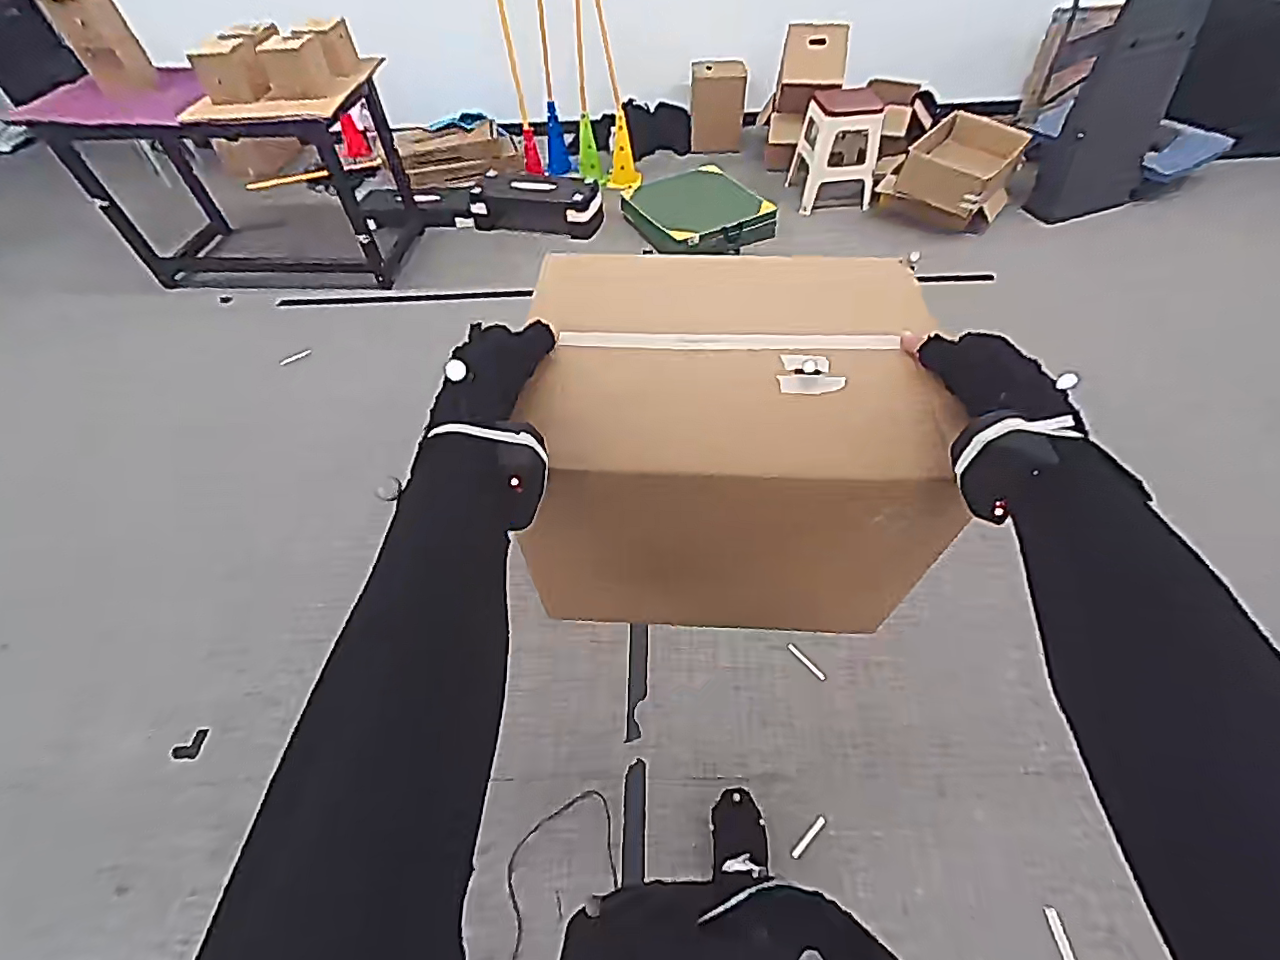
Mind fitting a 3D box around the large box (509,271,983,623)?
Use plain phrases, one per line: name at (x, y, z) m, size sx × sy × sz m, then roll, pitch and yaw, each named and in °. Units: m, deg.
large box at (0.091, -0.031, 0.654) m, size 0.408 × 0.320 × 0.320 m, roll 1°, pitch 54°, yaw 2°
